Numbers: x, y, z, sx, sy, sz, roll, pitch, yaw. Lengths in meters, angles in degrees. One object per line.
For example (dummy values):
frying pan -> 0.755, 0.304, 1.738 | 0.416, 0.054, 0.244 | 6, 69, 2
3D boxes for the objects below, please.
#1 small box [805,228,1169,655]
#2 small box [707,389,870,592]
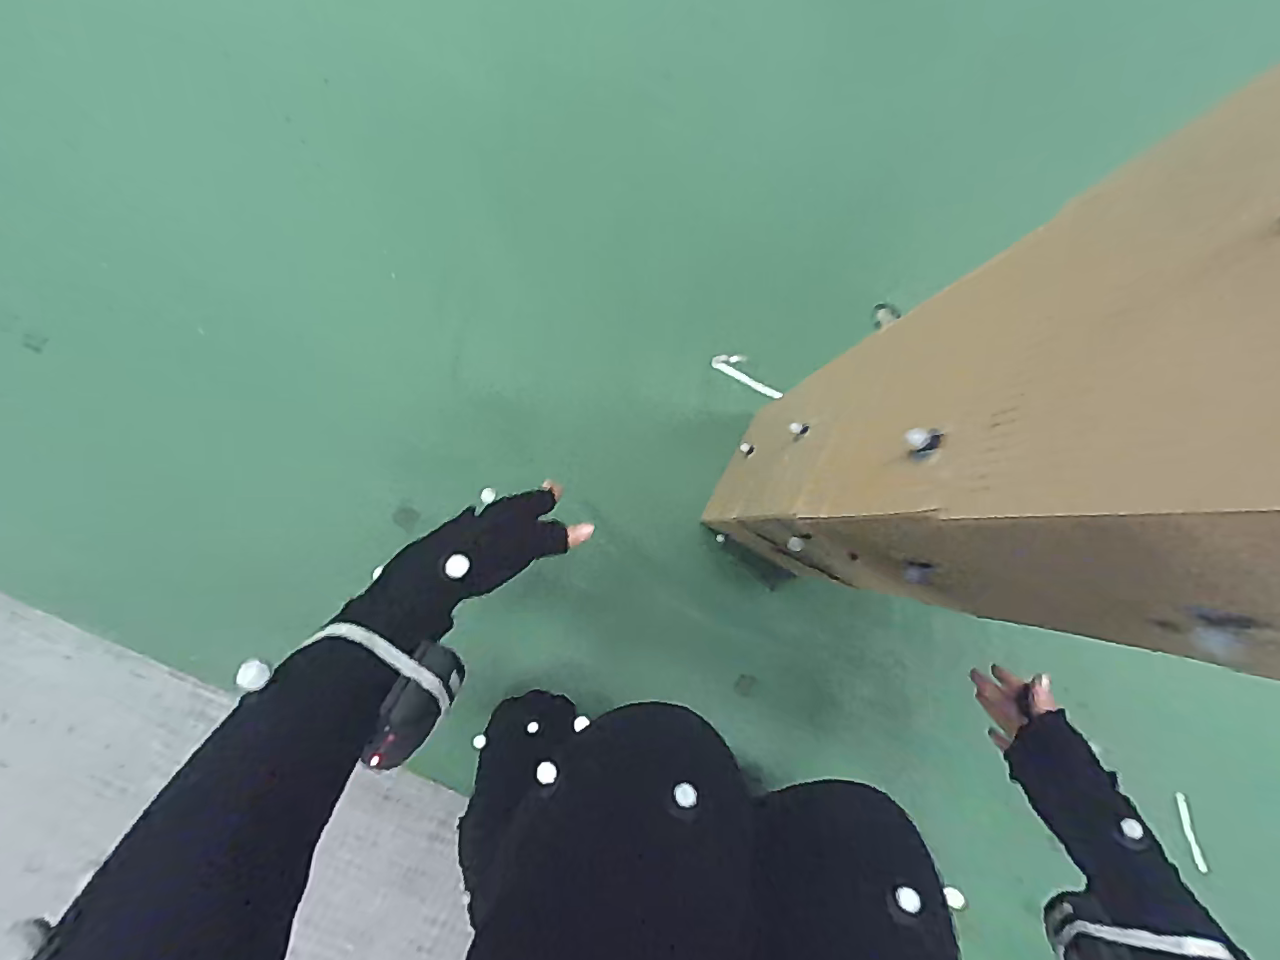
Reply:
small box -> 0.235, -0.014, 0.354 | 0.168, 0.176, 0.179 | 27, 82, -4
small box -> 0.199, 0.018, 0.678 | 0.168, 0.176, 0.179 | 29, 82, -3
